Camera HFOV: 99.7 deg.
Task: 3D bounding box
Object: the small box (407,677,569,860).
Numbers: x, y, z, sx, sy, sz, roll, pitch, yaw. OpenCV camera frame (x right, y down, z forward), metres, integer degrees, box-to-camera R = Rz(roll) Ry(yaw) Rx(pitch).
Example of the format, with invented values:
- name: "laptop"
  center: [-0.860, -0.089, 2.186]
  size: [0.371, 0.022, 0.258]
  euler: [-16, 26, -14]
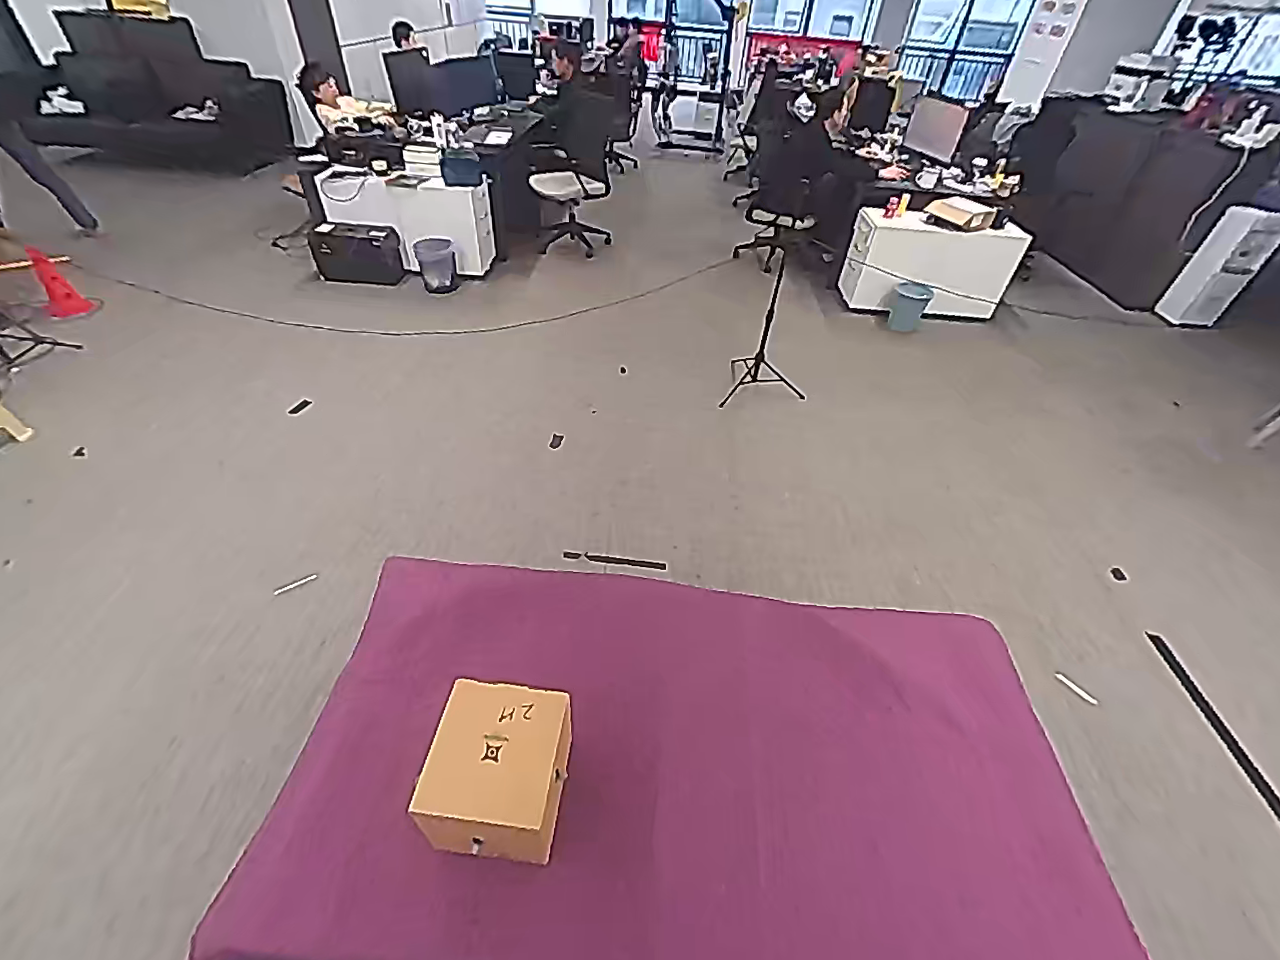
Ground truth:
- name: "small box"
  center: [-0.197, 0.410, 0.764]
  size: [0.168, 0.176, 0.179]
  euler: [7, 43, 2]
